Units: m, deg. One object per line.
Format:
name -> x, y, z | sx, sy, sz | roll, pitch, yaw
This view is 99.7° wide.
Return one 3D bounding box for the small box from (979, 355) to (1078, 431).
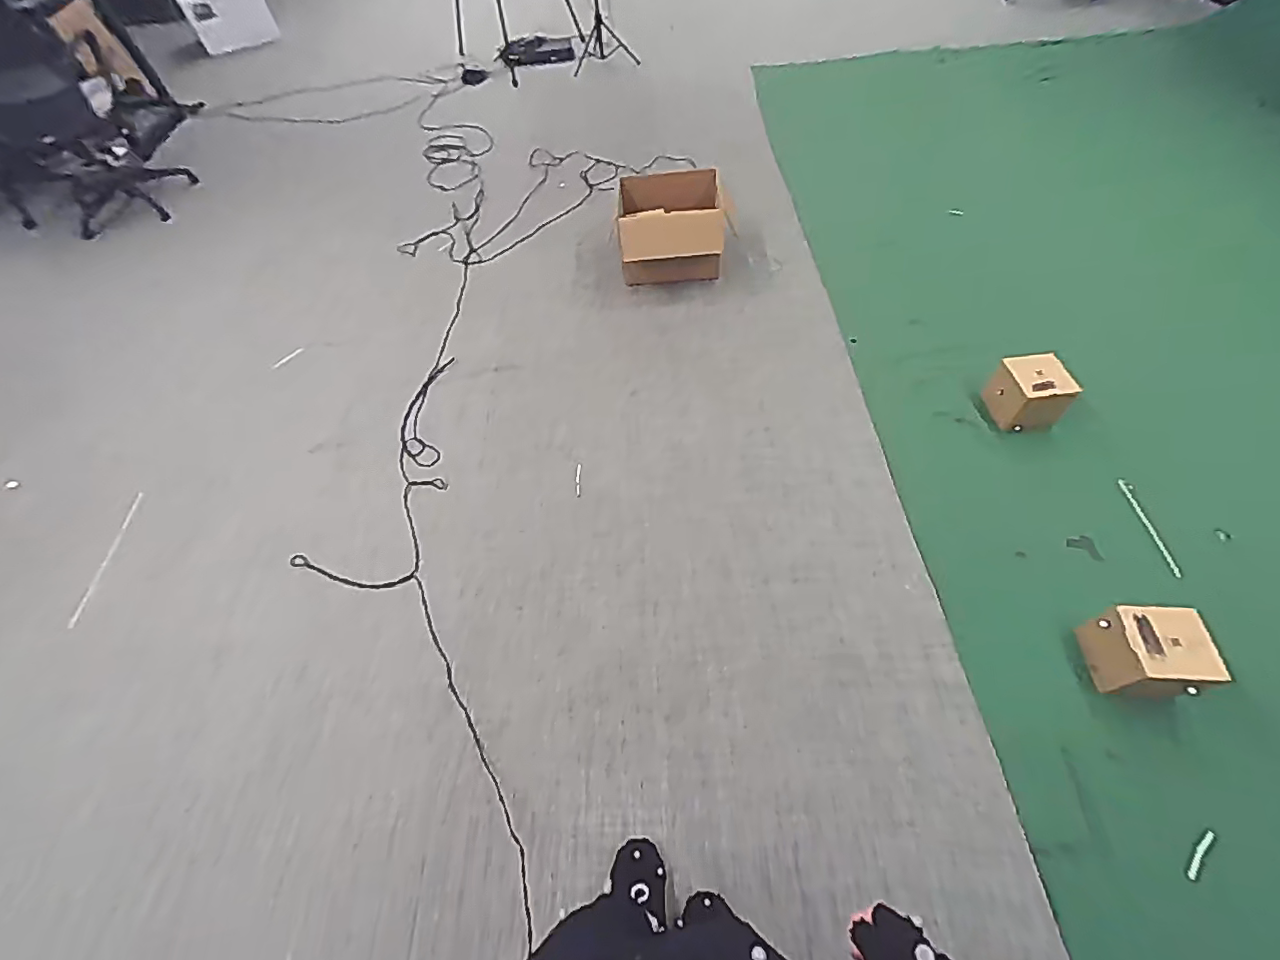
small box -> 1.234, -0.271, 1.733 | 0.168, 0.176, 0.179 | -6, 55, 0
